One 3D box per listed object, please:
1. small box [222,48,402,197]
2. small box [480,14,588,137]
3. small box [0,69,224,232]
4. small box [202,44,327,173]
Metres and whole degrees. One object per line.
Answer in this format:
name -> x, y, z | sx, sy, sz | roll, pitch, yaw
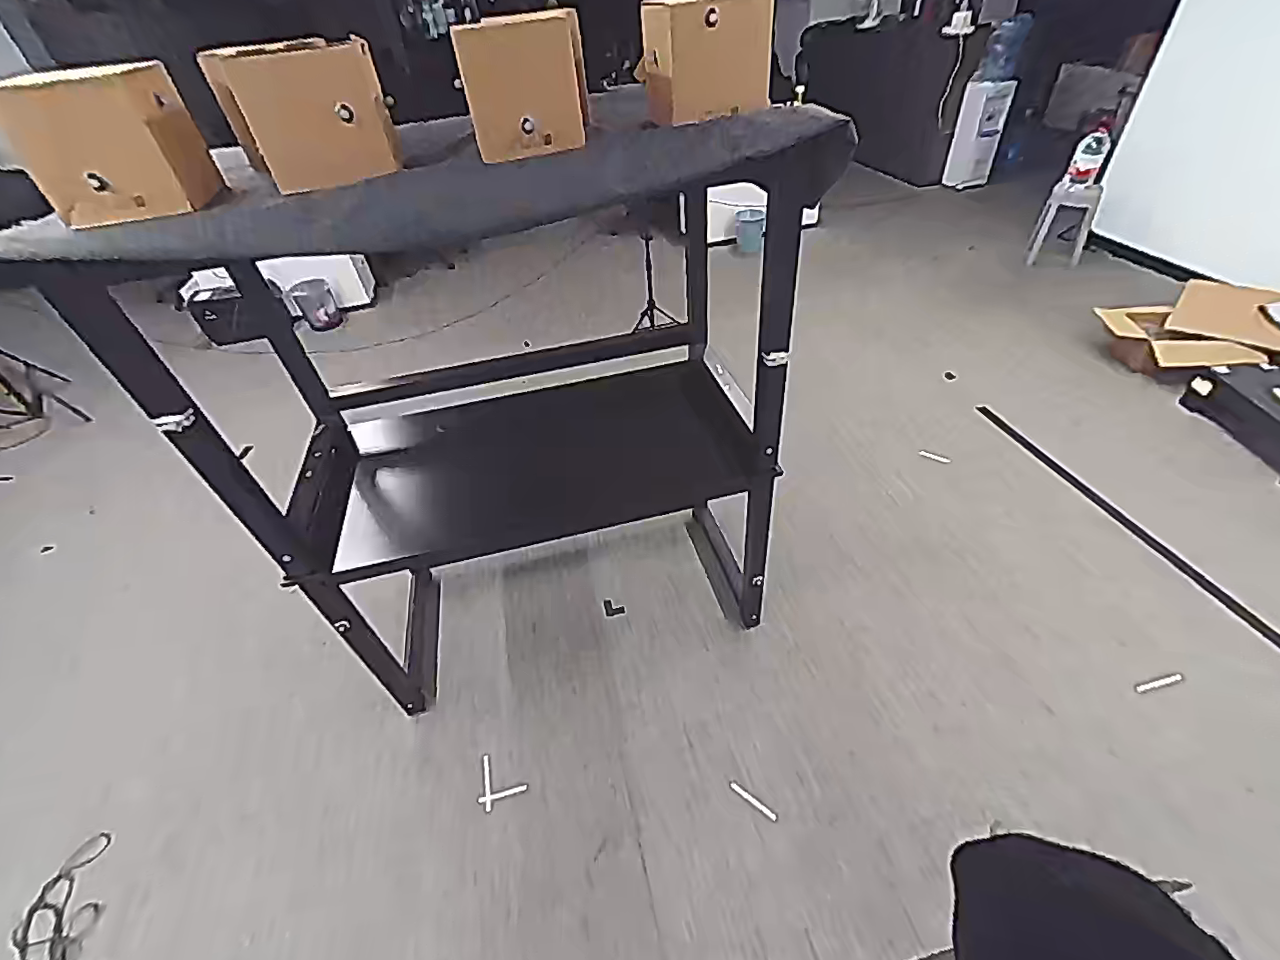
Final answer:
small box -> -0.482, -0.551, 0.831 | 0.179, 0.176, 0.168 | -13, 40, -10
small box -> -0.201, -0.774, 1.038 | 0.168, 0.176, 0.179 | -12, 42, -5
small box -> -0.752, -0.479, 0.786 | 0.168, 0.176, 0.179 | -15, 43, -10
small box -> -0.633, -0.673, 0.985 | 0.168, 0.176, 0.179 | -12, 42, -7
